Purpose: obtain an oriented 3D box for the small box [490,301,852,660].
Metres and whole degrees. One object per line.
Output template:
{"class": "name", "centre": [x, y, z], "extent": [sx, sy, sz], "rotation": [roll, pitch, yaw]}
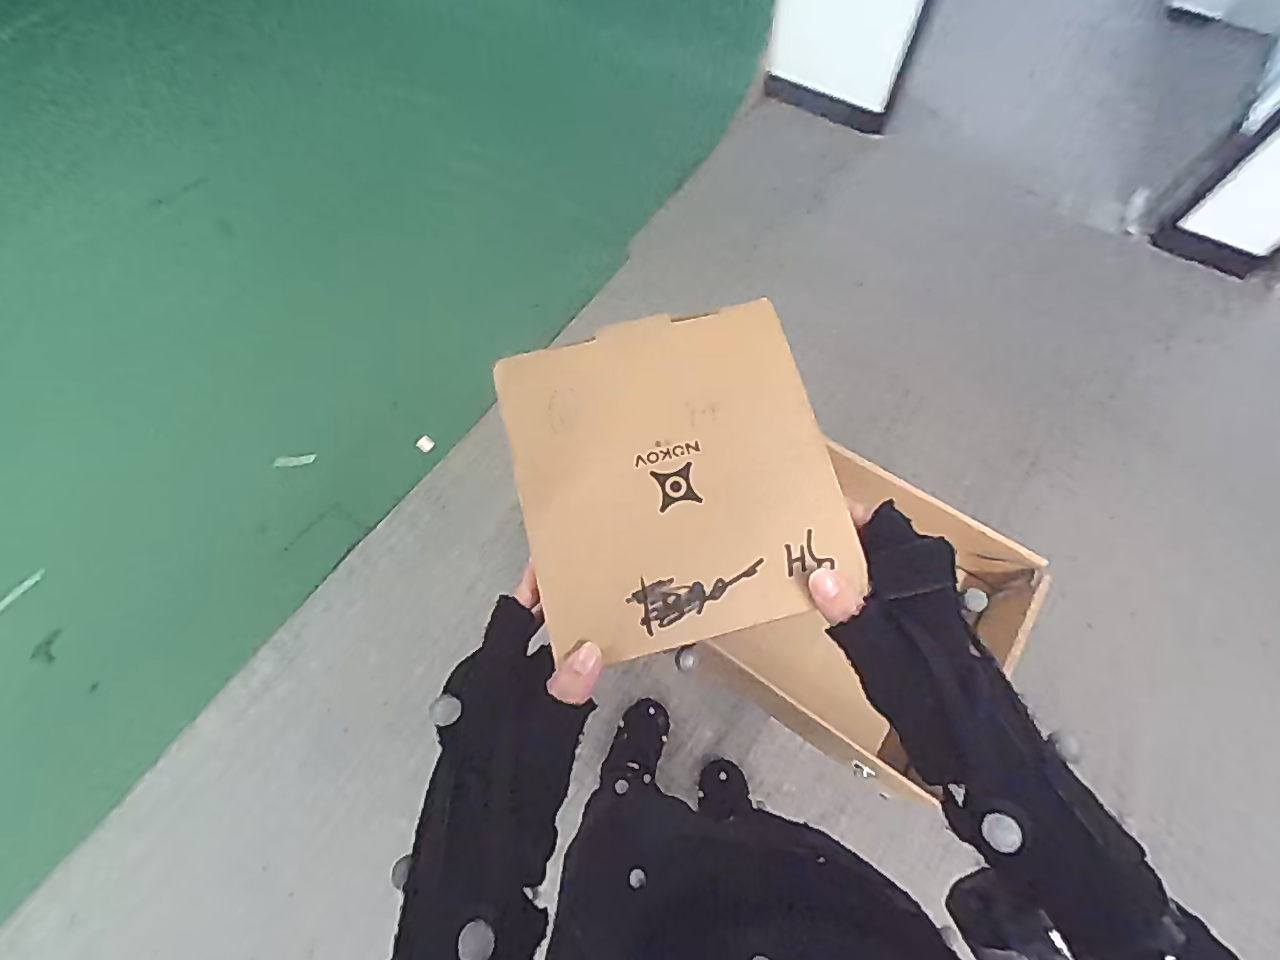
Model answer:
{"class": "small box", "centre": [0.011, 0.012, 0.373], "extent": [0.168, 0.176, 0.179], "rotation": [-15, 77, -3]}
